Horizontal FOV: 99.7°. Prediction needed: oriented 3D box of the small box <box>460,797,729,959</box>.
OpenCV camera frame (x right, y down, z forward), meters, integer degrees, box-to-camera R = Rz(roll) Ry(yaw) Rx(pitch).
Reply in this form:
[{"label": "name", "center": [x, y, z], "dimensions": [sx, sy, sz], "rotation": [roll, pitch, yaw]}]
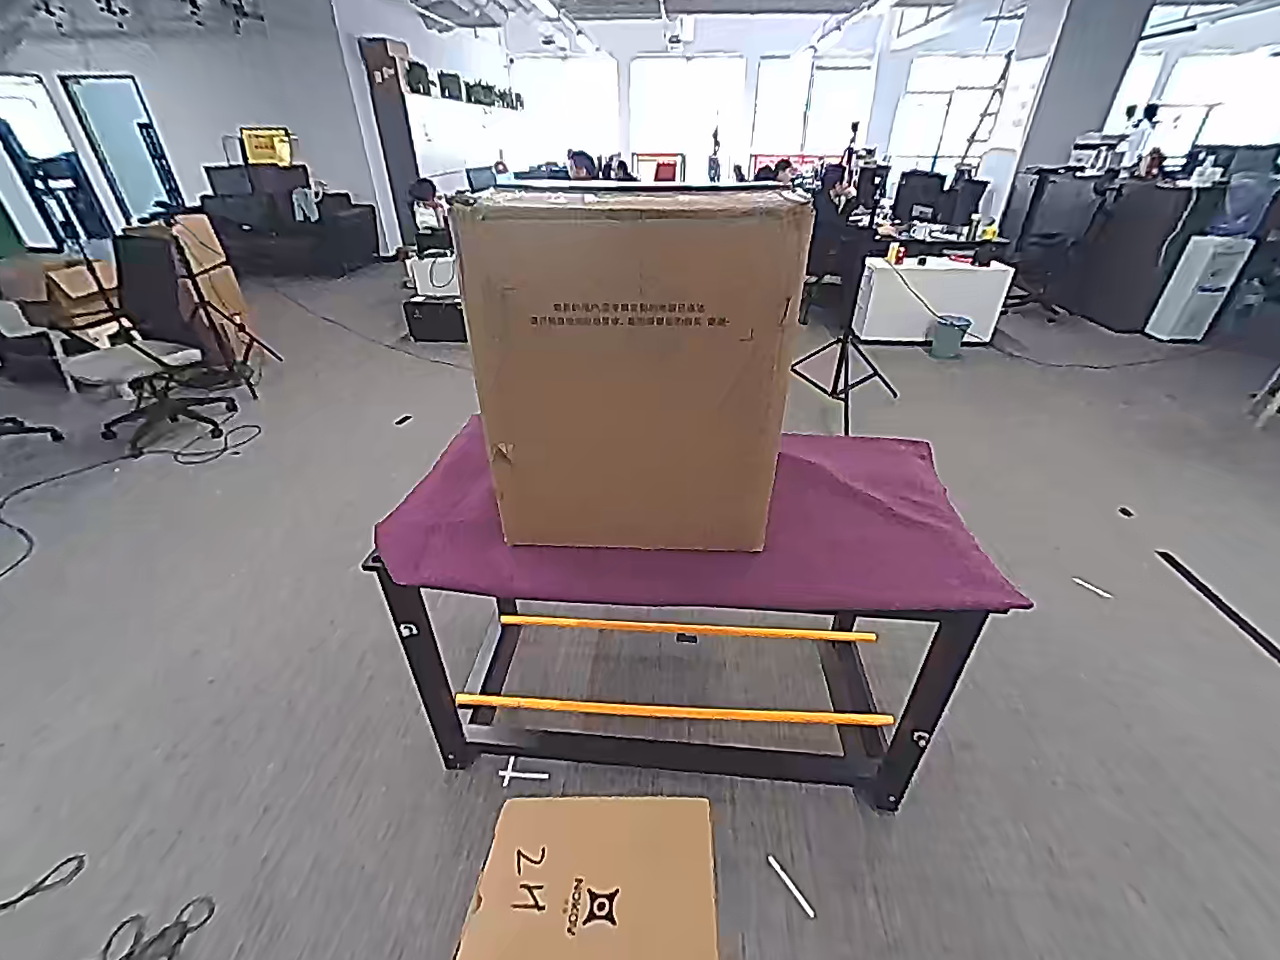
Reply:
[{"label": "small box", "center": [-0.022, 0.372, 0.404], "dimensions": [0.179, 0.176, 0.168], "rotation": [-4, 20, 6]}]
